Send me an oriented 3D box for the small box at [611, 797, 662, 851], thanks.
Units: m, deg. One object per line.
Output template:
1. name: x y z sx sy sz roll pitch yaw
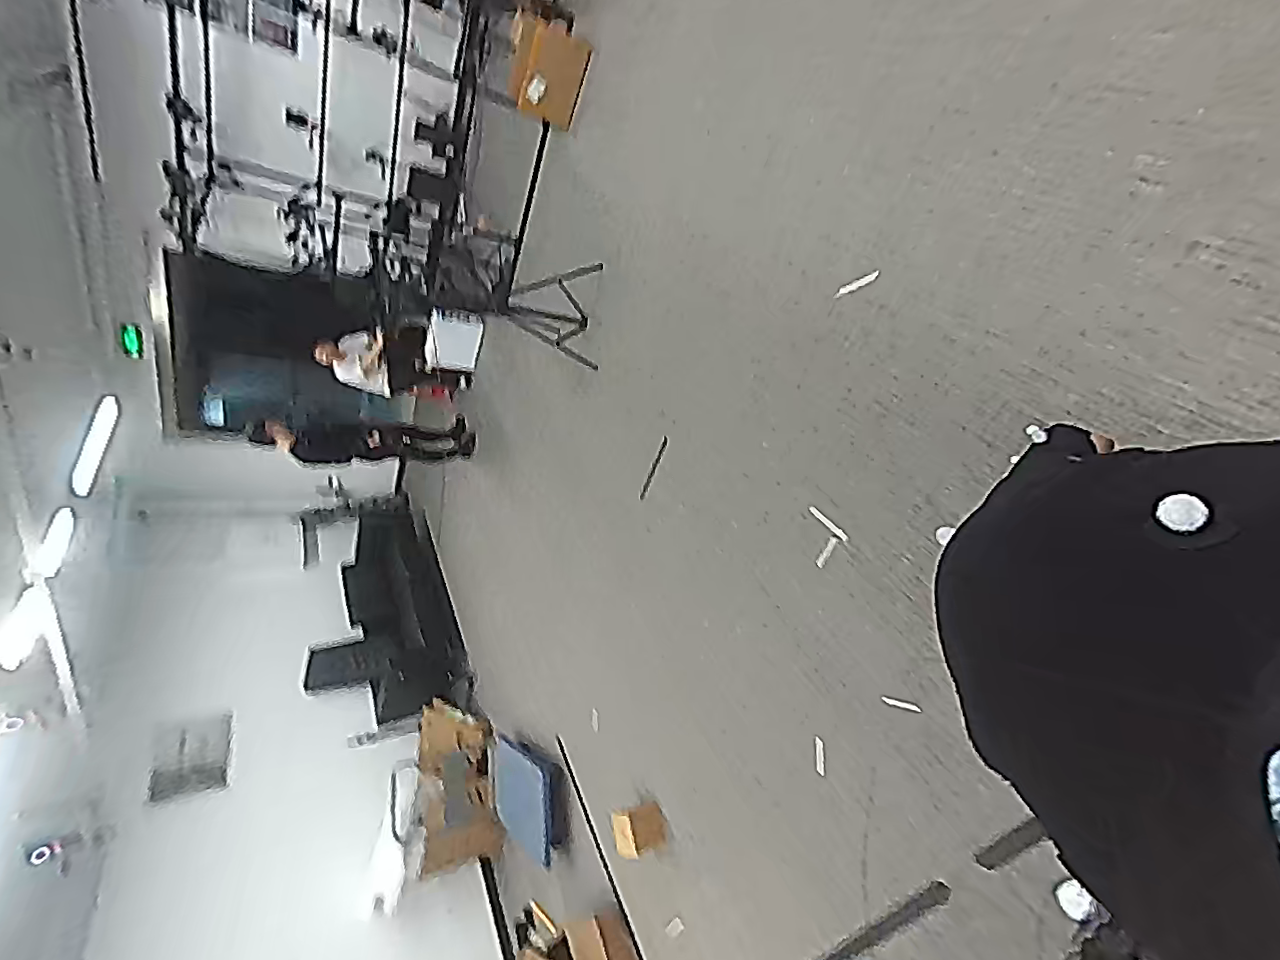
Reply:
1. small box: -0.015 1.645 2.589 0.168 0.176 0.179 -43 55 47
